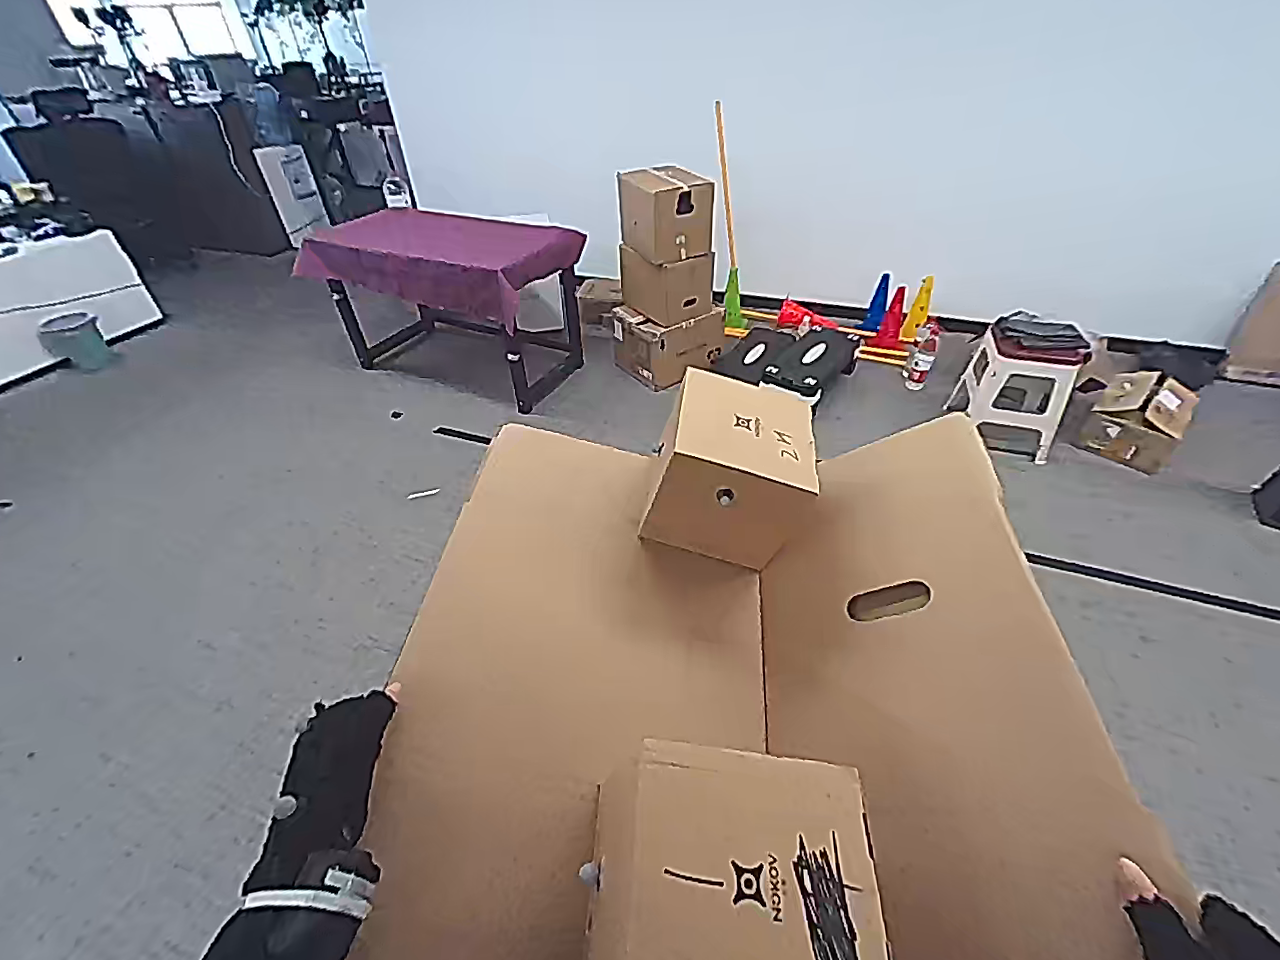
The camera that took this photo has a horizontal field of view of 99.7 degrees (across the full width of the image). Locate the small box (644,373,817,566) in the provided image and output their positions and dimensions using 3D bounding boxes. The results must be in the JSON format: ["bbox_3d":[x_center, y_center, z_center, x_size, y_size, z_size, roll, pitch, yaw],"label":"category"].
[{"bbox_3d":[0.115,-0.008,0.722,0.179,0.176,0.168,17,47,-4],"label":"small box"}]

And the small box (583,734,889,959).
[{"bbox_3d":[0.062,0.318,0.421,0.179,0.176,0.168,11,48,-7],"label":"small box"}]
